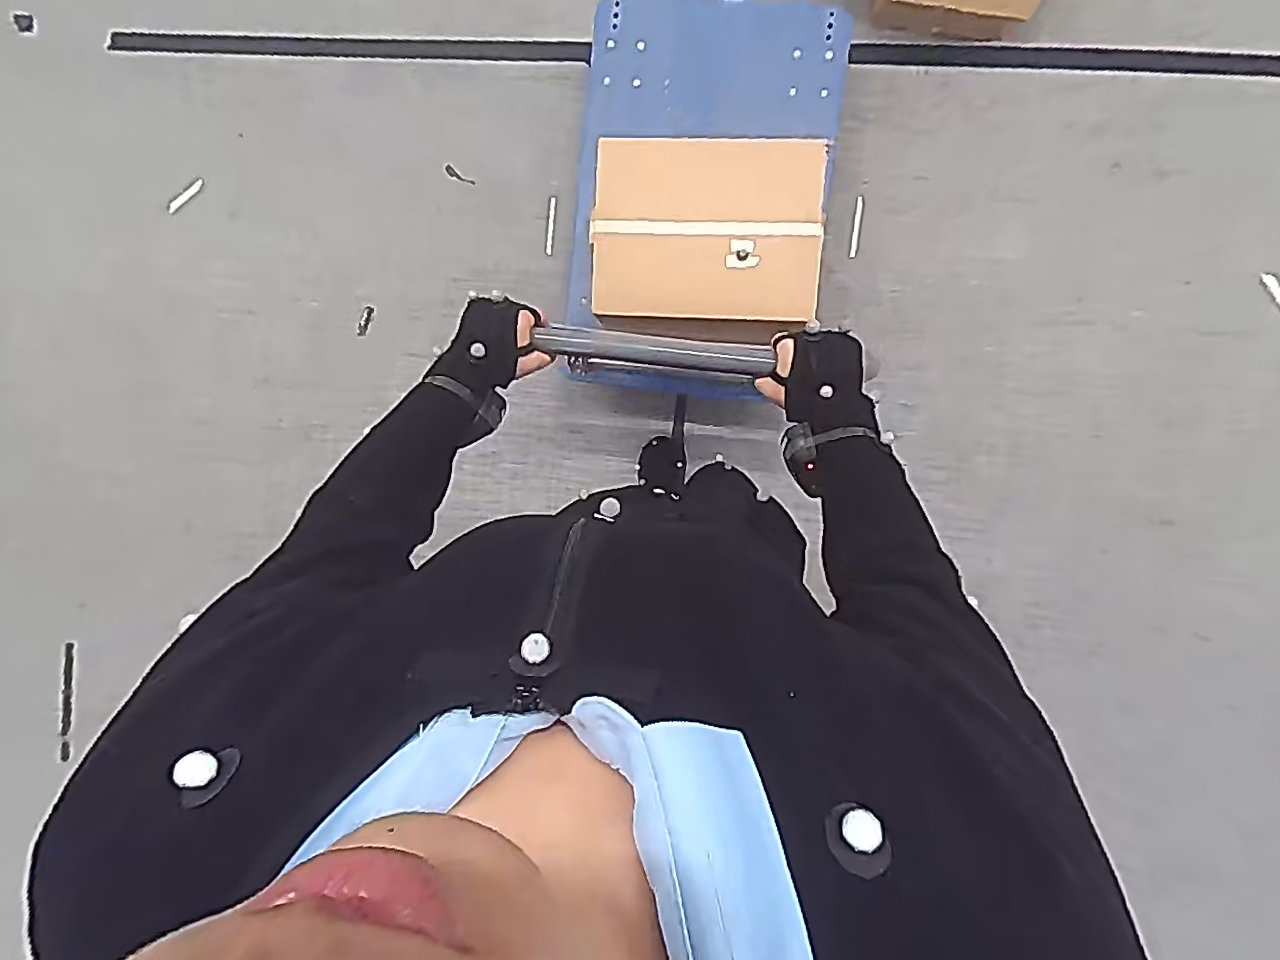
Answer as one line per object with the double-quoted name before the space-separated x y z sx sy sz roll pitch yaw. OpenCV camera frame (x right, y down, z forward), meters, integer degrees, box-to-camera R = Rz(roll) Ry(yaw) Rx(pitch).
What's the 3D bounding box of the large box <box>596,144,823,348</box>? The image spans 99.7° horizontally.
"large box" 0.130 -0.459 1.126 0.408 0.320 0.320 3 95 4
